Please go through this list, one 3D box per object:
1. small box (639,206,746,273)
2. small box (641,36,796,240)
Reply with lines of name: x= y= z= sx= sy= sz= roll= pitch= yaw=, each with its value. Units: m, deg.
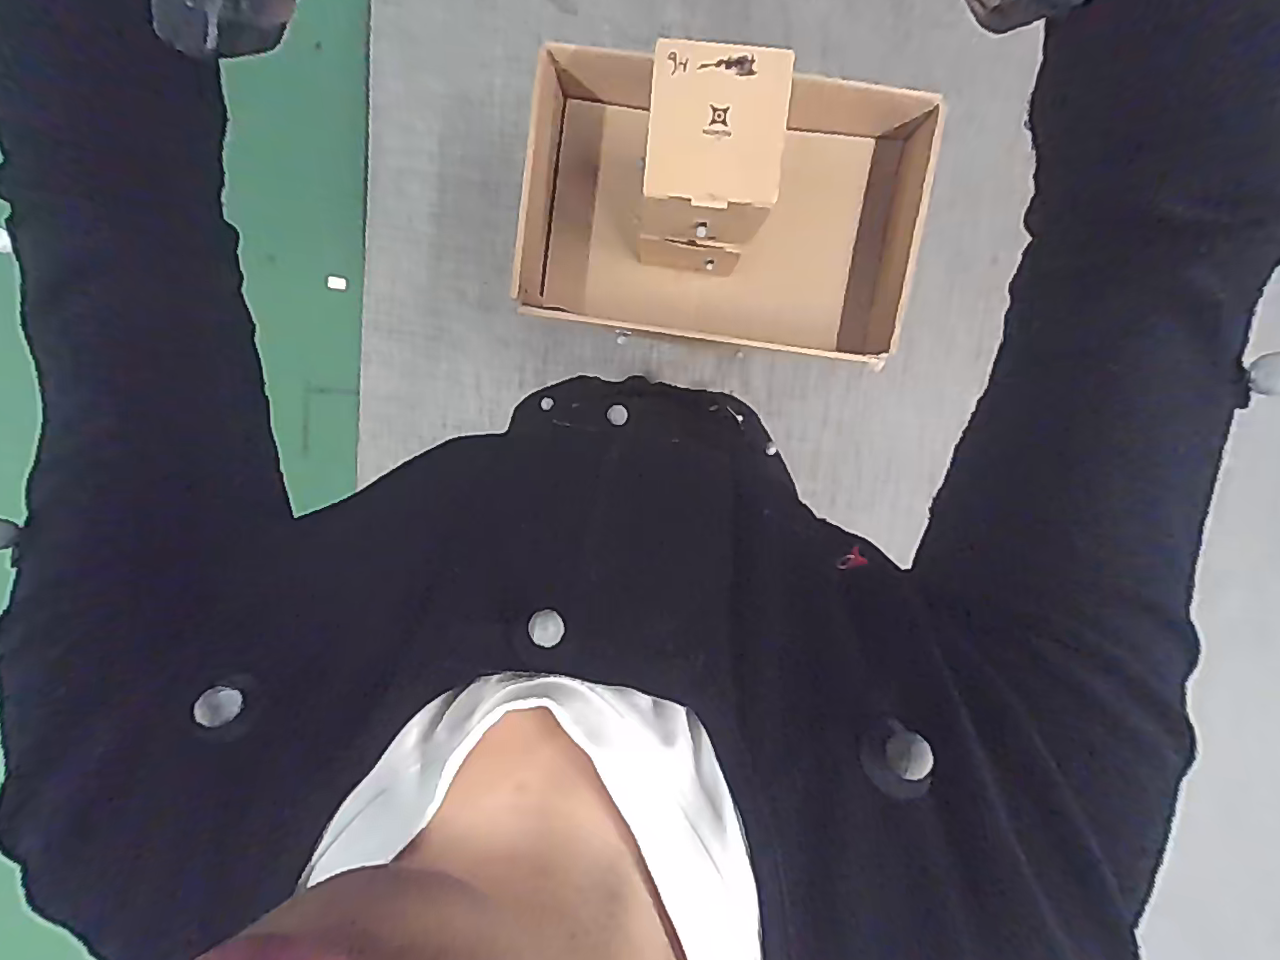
small box: x=0.093 y=-0.453 z=0.884 sx=0.168 sy=0.176 sz=0.179 roll=8 pitch=97 yaw=-1
small box: x=0.094 y=-0.436 z=0.720 sx=0.168 sy=0.176 sz=0.179 roll=6 pitch=99 yaw=-1
